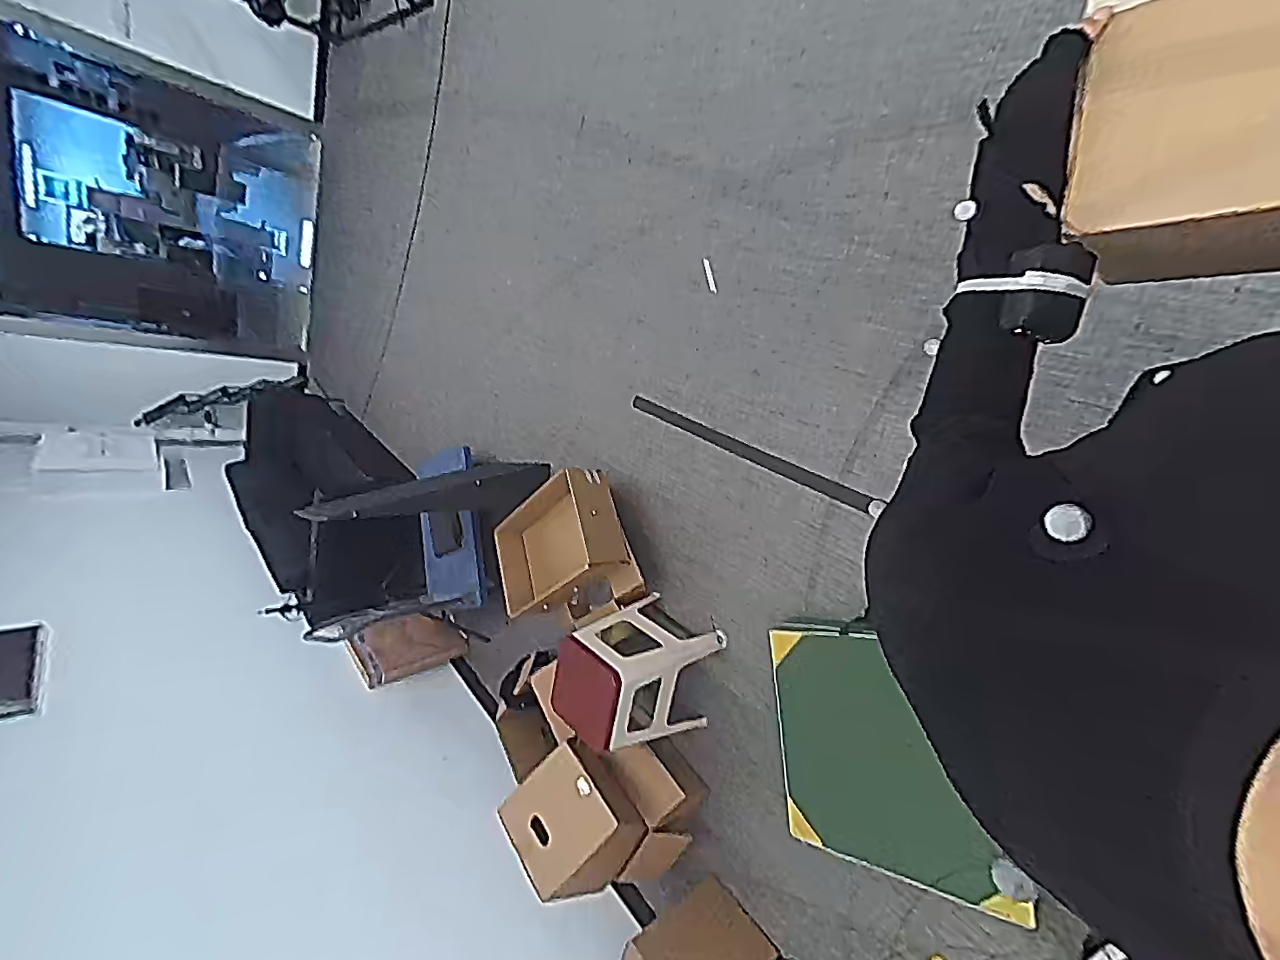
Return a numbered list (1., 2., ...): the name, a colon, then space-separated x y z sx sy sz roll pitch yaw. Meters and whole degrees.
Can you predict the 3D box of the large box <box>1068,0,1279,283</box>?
1. large box: 0.584 -0.337 0.372 0.408 0.320 0.320 12 106 43
